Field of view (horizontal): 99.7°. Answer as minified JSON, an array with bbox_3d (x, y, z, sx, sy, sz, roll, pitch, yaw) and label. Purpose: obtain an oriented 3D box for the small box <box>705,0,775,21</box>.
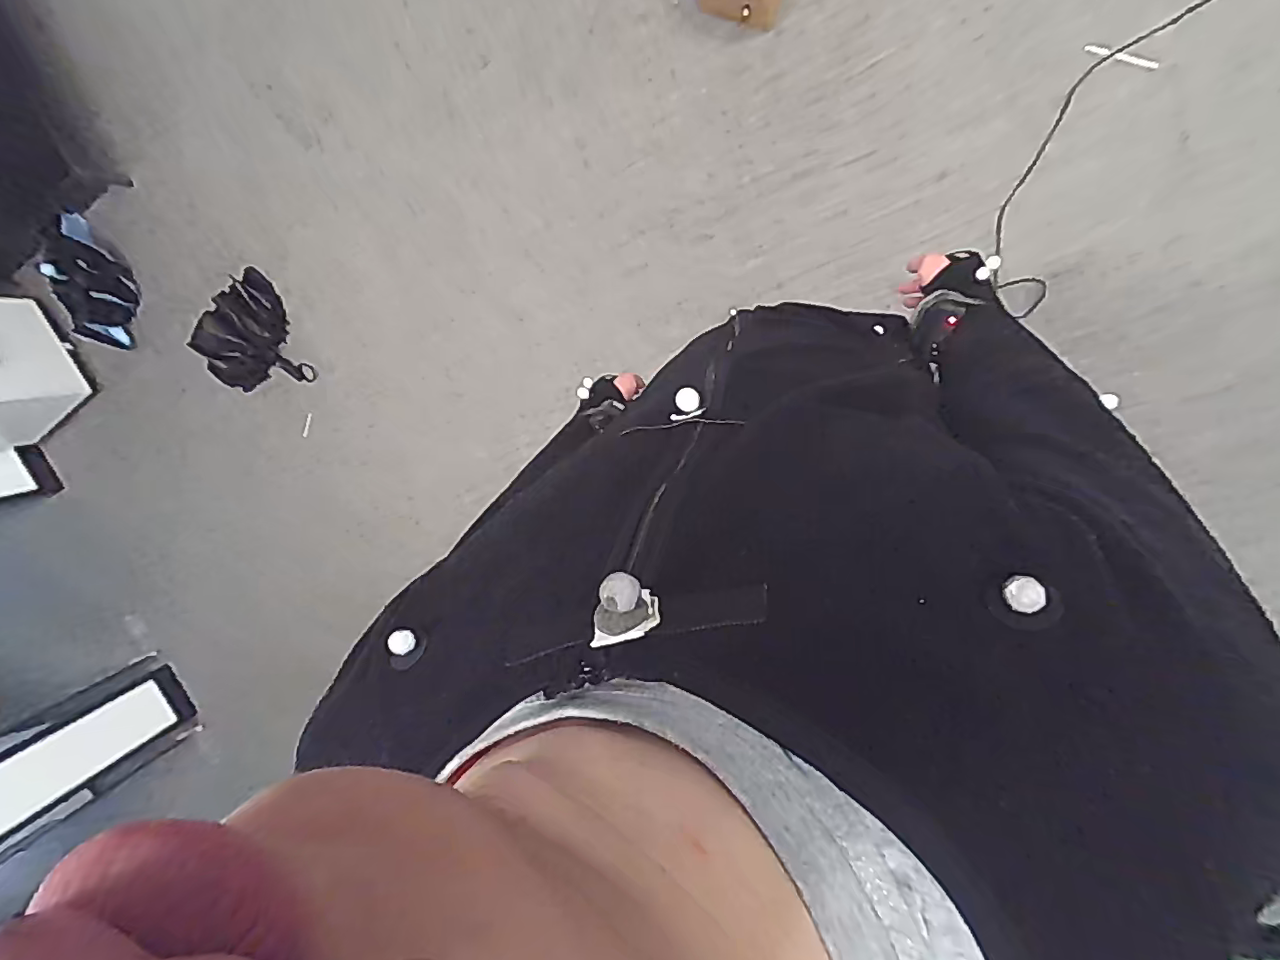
[{"bbox_3d":[0.221,-1.121,1.139,0.168,0.176,0.179,23,111,8],"label":"small box"}]
